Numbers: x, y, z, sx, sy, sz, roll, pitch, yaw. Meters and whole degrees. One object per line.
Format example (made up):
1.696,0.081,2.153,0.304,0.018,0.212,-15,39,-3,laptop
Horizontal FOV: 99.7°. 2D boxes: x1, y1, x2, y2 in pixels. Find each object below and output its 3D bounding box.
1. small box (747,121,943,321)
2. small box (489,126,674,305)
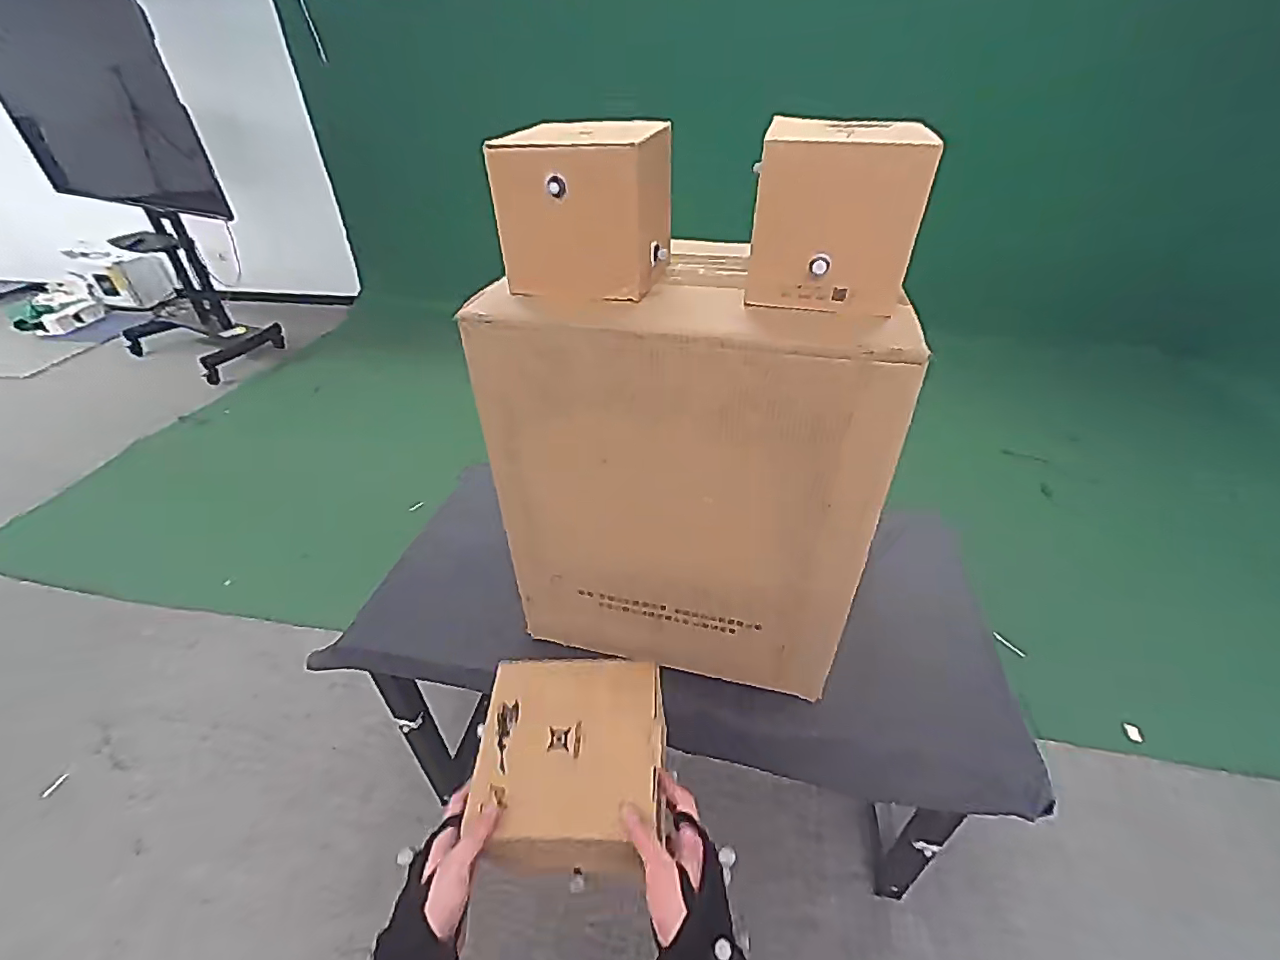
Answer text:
0.223,-0.304,0.628,0.168,0.176,0.179,9,41,11,small box
-0.060,-0.332,0.677,0.179,0.176,0.168,9,42,11,small box
